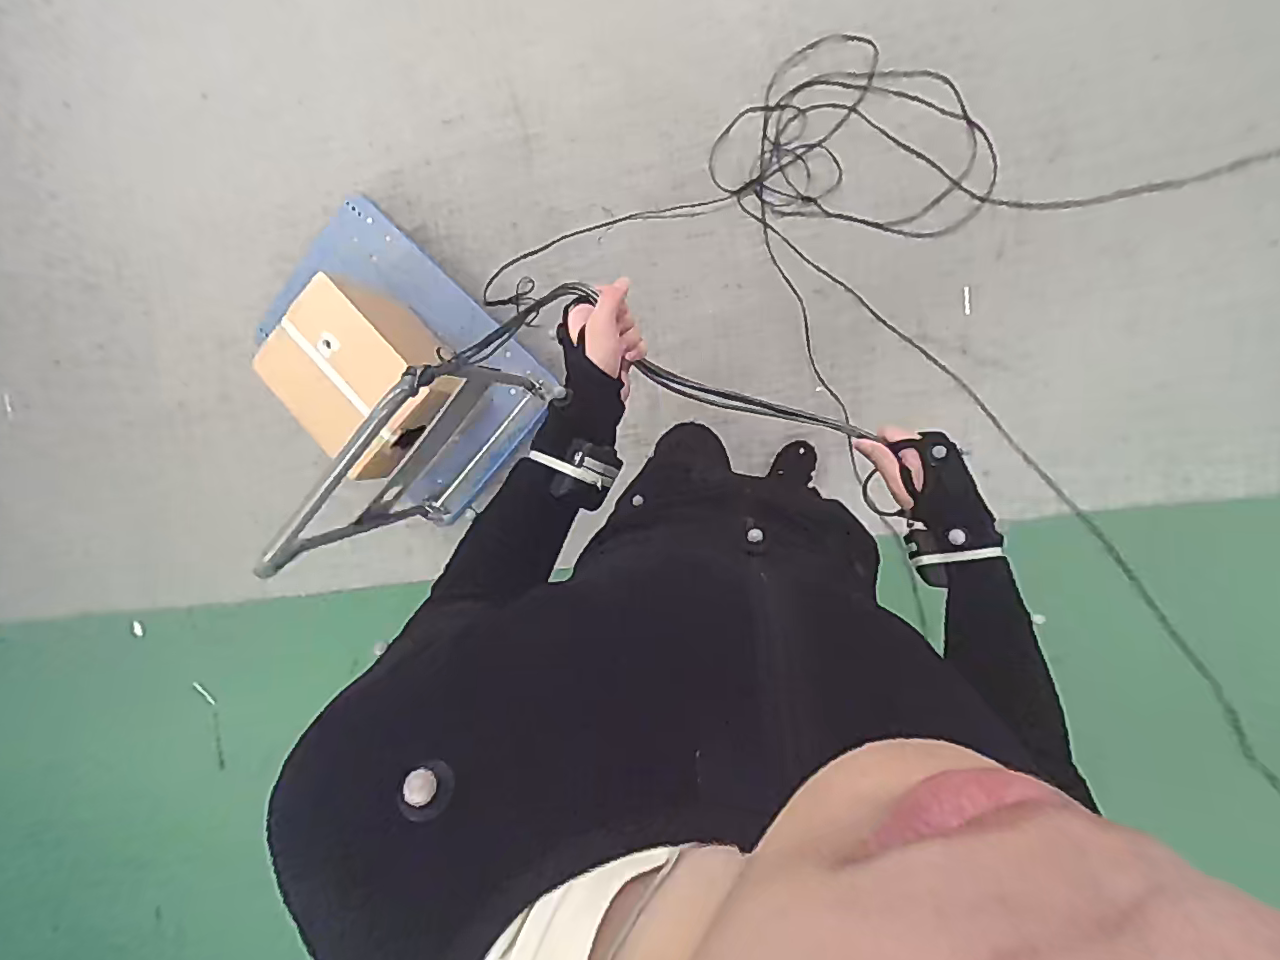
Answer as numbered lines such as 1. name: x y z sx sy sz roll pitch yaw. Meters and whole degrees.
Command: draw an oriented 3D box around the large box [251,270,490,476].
1. large box: -0.687 -0.263 1.425 0.320 0.320 0.408 -44 85 12
